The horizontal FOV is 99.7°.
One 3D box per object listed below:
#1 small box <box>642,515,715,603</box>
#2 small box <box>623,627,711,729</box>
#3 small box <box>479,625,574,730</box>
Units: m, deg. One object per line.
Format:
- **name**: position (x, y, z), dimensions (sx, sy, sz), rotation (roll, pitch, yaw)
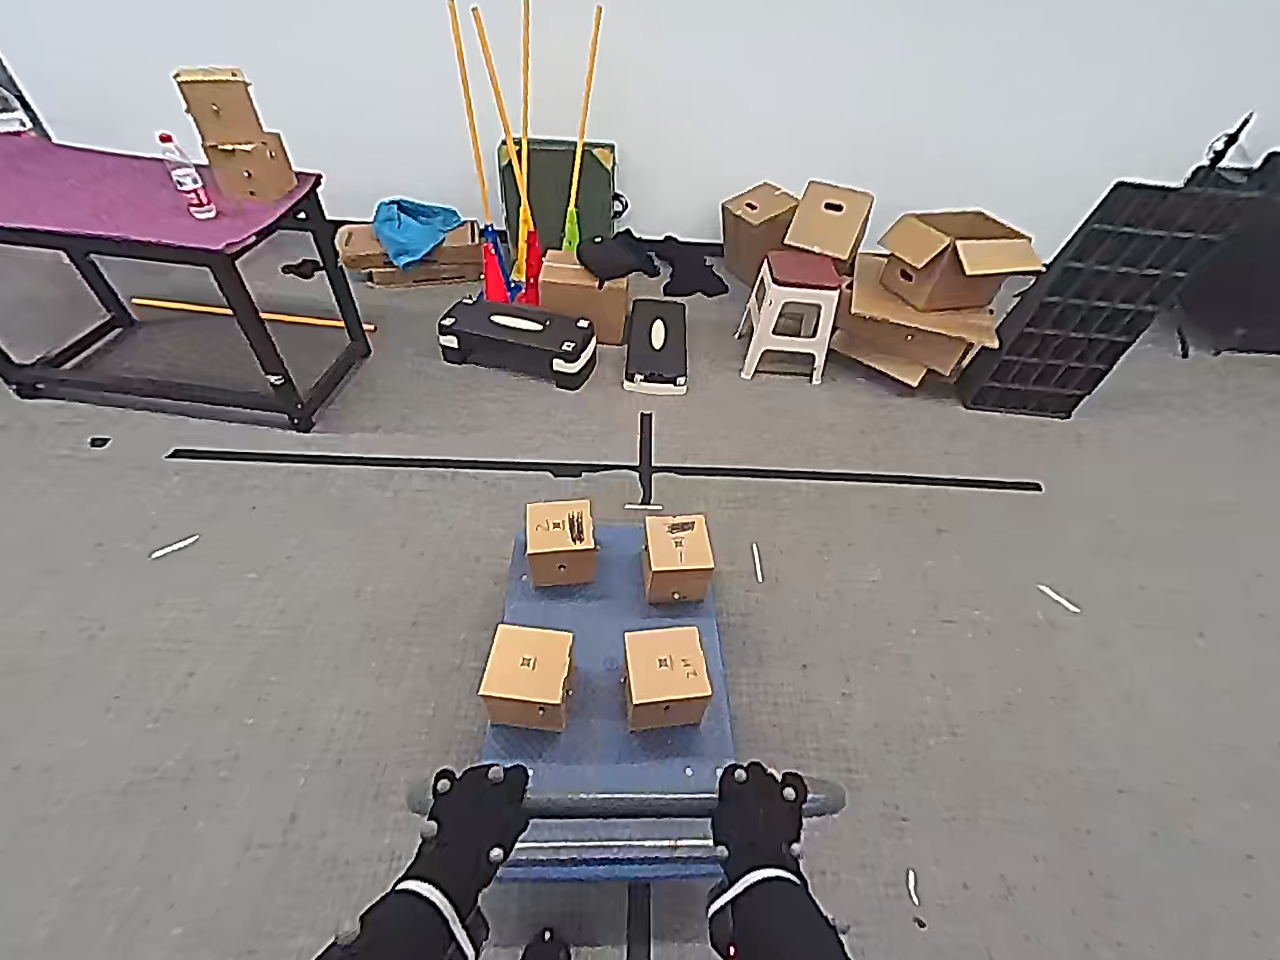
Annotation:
- **small box**: position (0.097, 0.216, 1.481), dimensions (0.168, 0.176, 0.179), rotation (-2, 49, -6)
- **small box**: position (0.054, 0.461, 1.253), dimensions (0.179, 0.176, 0.168), rotation (-3, 48, -8)
- **small box**: position (-0.250, 0.454, 1.233), dimensions (0.179, 0.176, 0.168), rotation (7, 47, -1)
